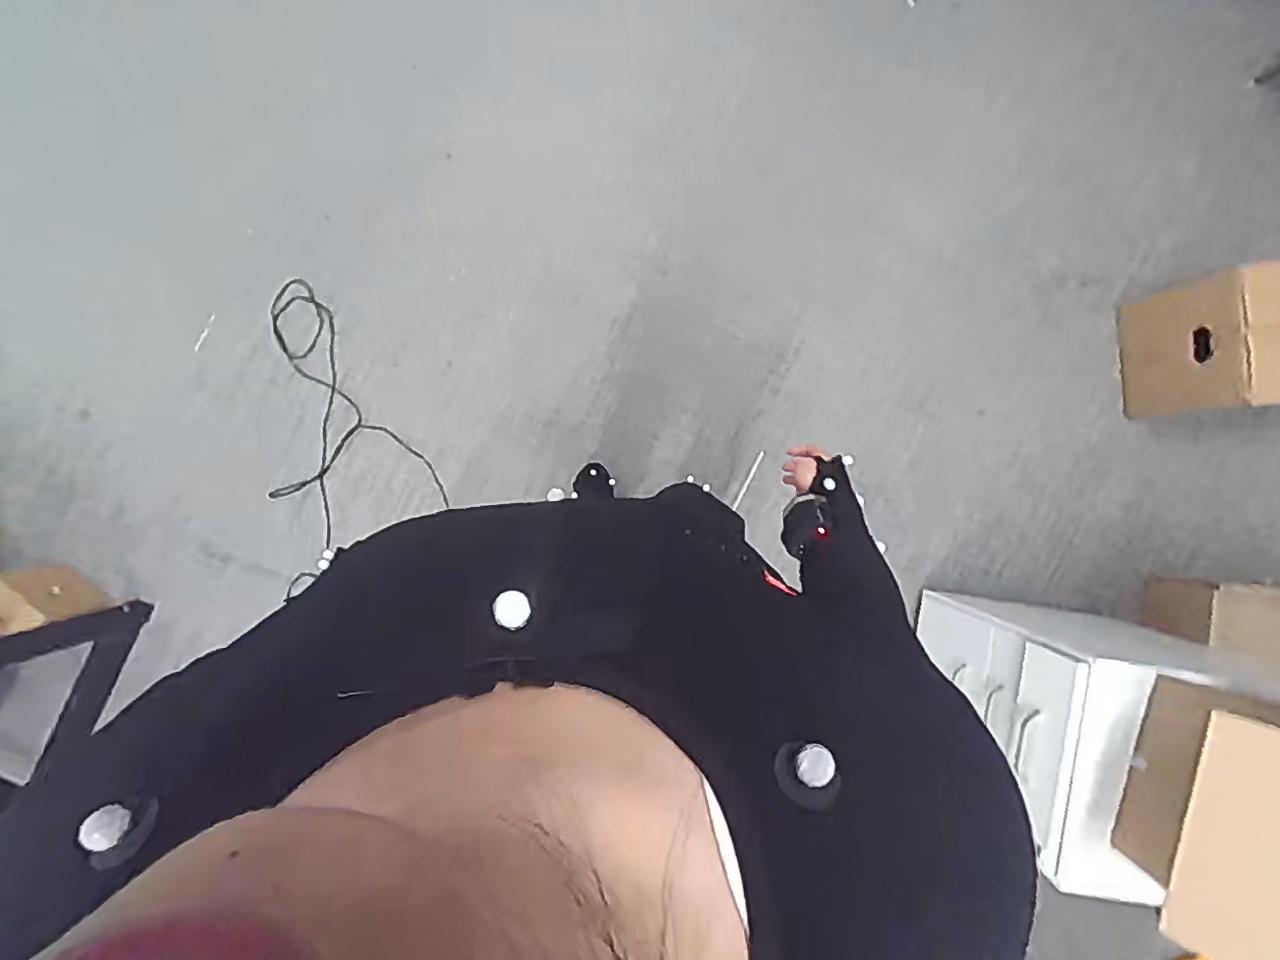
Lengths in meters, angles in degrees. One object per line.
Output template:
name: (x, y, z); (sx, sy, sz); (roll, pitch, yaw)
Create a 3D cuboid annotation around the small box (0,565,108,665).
small box: (-1.568, 0.340, 1.405); (0.179, 0.176, 0.168); (39, 90, -2)
